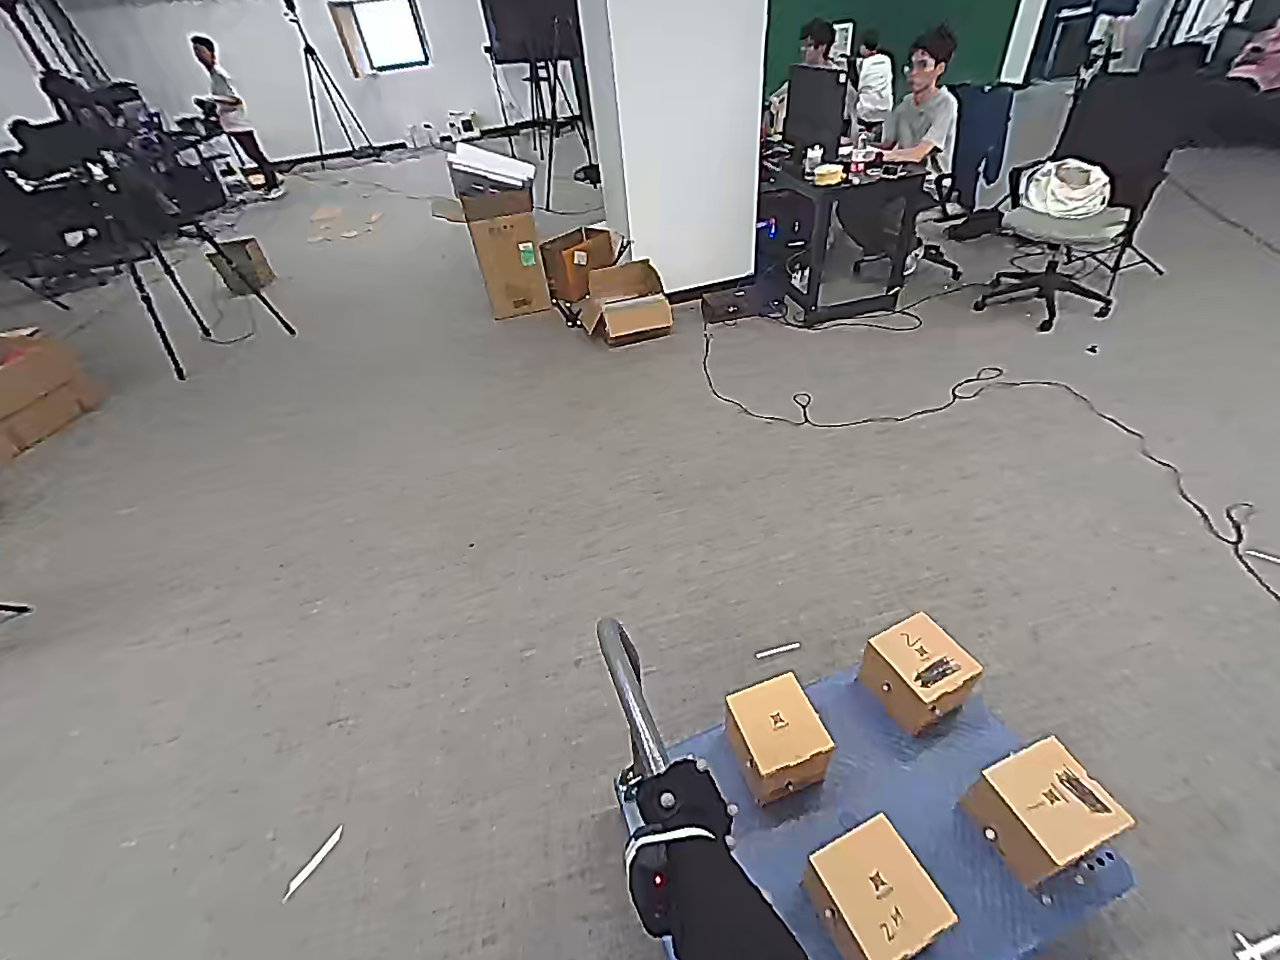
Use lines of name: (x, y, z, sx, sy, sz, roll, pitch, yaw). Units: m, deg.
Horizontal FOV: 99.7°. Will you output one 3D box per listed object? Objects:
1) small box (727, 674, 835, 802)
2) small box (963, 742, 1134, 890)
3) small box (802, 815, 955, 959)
small box: (0.298, 0.566, 1.188, 0.168, 0.176, 0.179, -16, 43, -10)
small box: (0.762, 0.642, 1.033, 0.179, 0.176, 0.168, -18, 42, -10)
small box: (0.409, 0.748, 0.964, 0.168, 0.176, 0.179, -19, 43, -13)
